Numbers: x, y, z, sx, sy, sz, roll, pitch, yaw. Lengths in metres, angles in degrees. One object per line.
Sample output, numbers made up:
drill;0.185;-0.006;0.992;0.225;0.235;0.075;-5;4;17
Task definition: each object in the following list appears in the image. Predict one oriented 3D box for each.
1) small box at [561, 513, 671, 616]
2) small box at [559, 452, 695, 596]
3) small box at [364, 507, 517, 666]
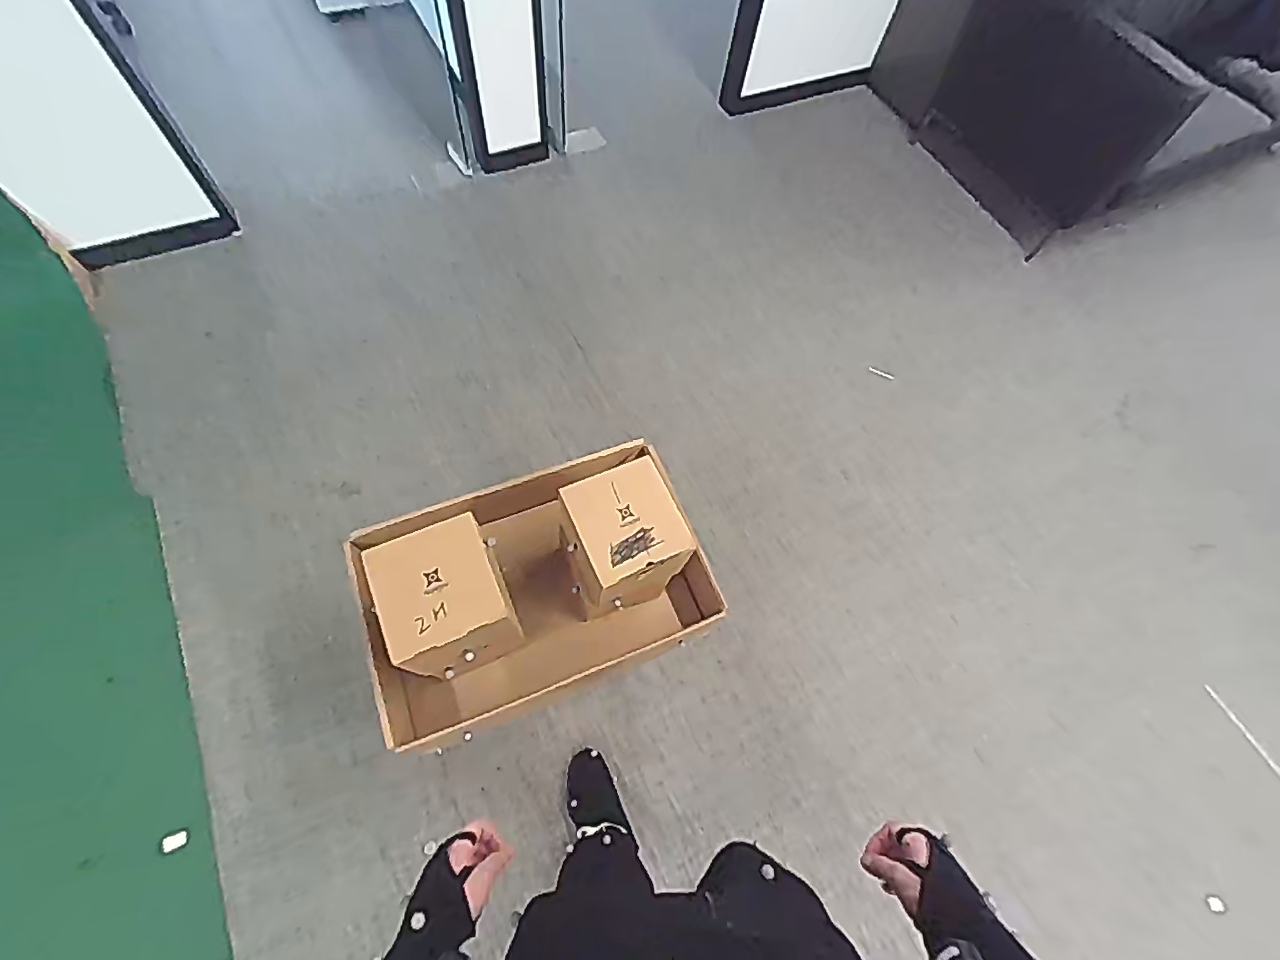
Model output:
small box;-0.056;0.149;1.069;0.168;0.176;0.179;-16;69;-14
small box;-0.028;0.084;0.920;0.168;0.176;0.179;-21;70;-16
small box;-0.302;0.172;0.846;0.168;0.176;0.179;-21;70;-15
